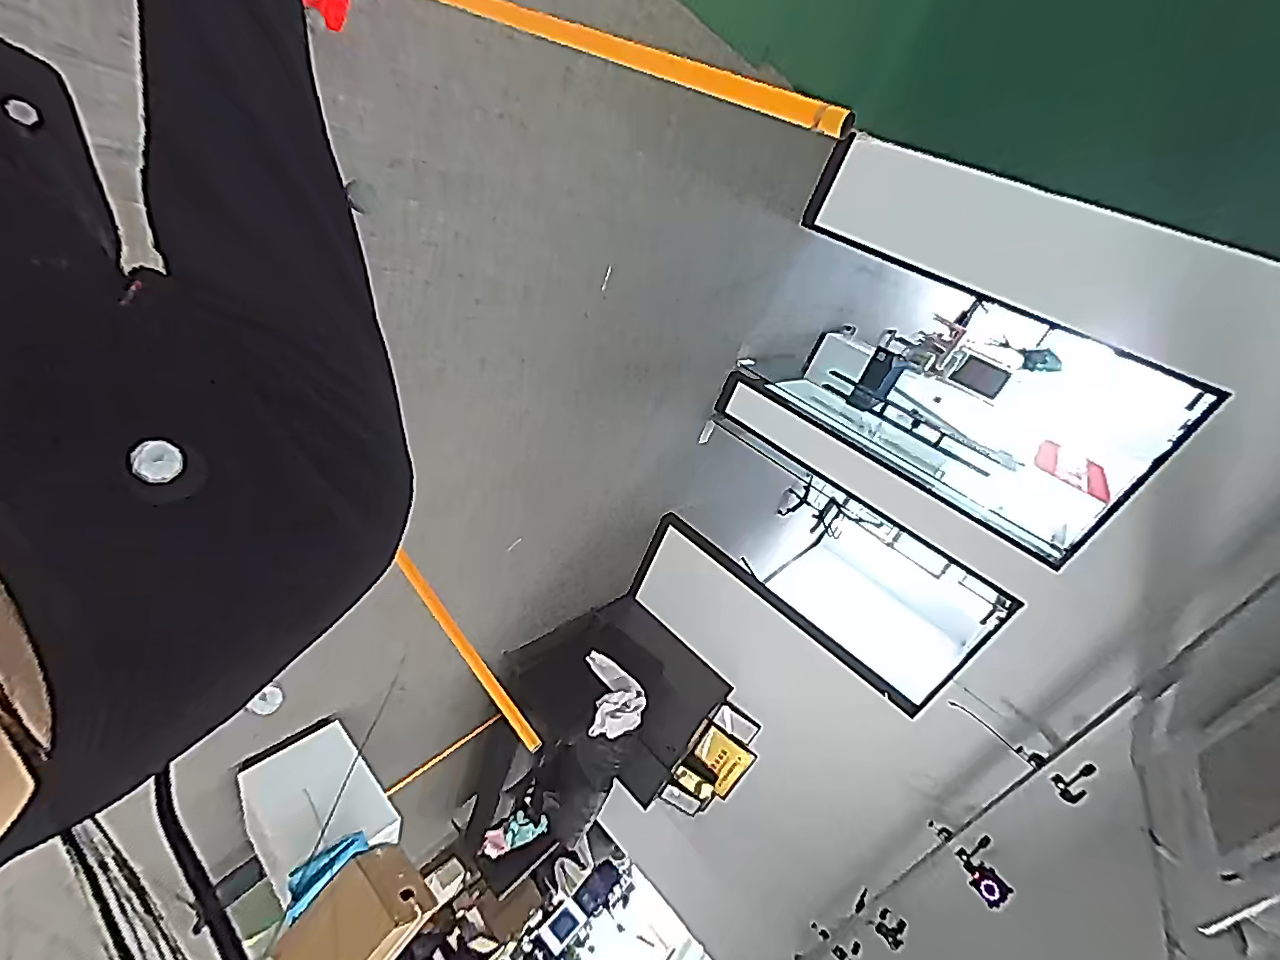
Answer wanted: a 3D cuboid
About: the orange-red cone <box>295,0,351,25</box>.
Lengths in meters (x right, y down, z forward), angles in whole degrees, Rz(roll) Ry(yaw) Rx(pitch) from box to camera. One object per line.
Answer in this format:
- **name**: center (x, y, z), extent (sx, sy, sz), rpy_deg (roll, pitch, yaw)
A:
- **orange-red cone**: center (-0.524, -0.938, 0.966), extent (0.198, 0.360, 0.199), rpy_deg (-2, 126, -57)
